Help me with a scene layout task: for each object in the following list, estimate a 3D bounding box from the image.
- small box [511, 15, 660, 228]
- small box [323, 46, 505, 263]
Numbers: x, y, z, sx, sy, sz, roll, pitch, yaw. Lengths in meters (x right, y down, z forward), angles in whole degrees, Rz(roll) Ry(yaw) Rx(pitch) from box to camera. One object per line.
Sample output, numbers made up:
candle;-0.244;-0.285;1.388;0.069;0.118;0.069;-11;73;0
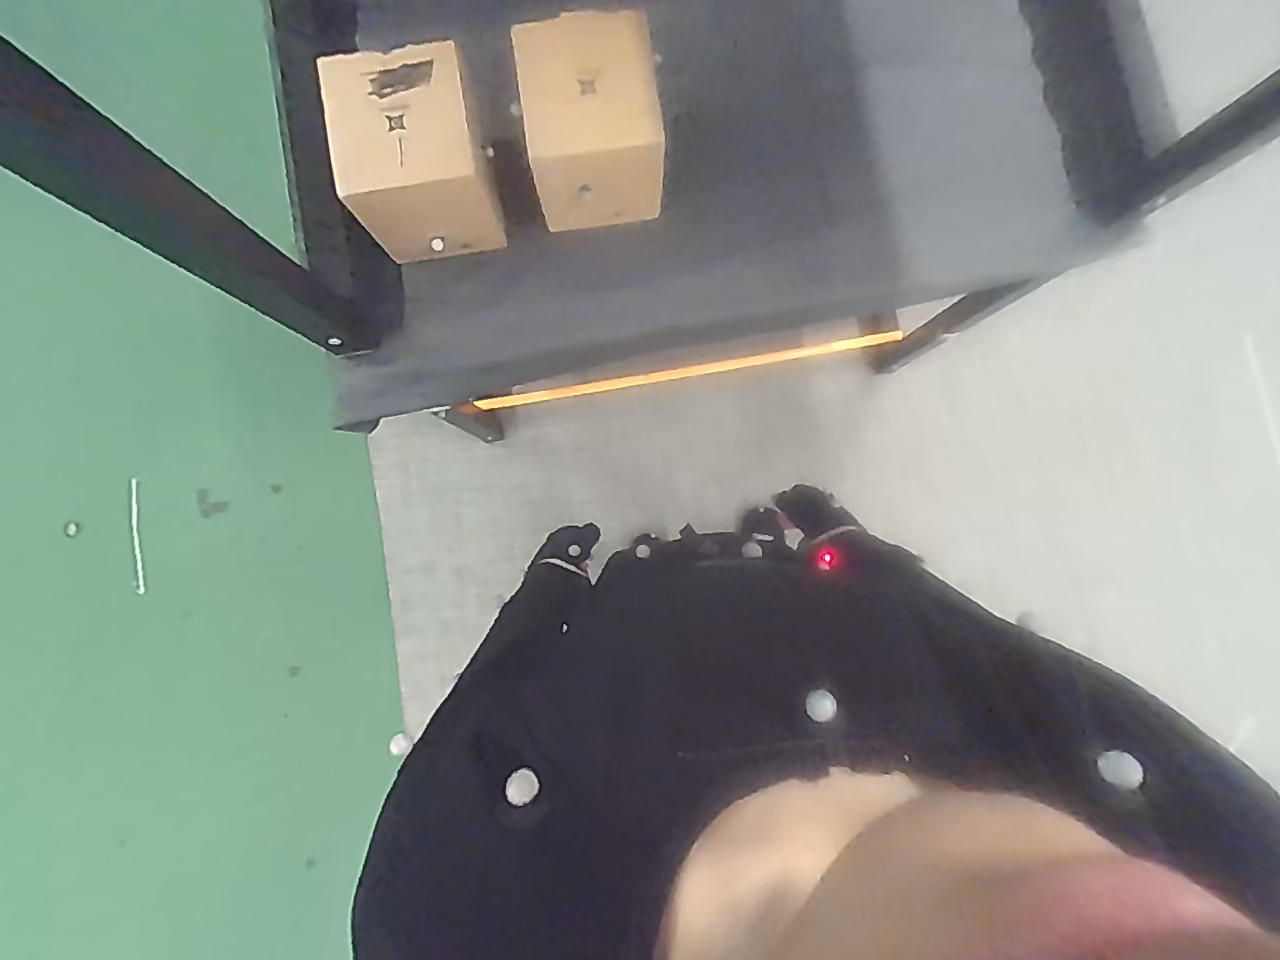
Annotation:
small box;-0.066;-0.466;0.733;0.168;0.176;0.179;-9;84;-2
small box;-0.289;-0.421;0.723;0.168;0.176;0.179;-10;85;-2
